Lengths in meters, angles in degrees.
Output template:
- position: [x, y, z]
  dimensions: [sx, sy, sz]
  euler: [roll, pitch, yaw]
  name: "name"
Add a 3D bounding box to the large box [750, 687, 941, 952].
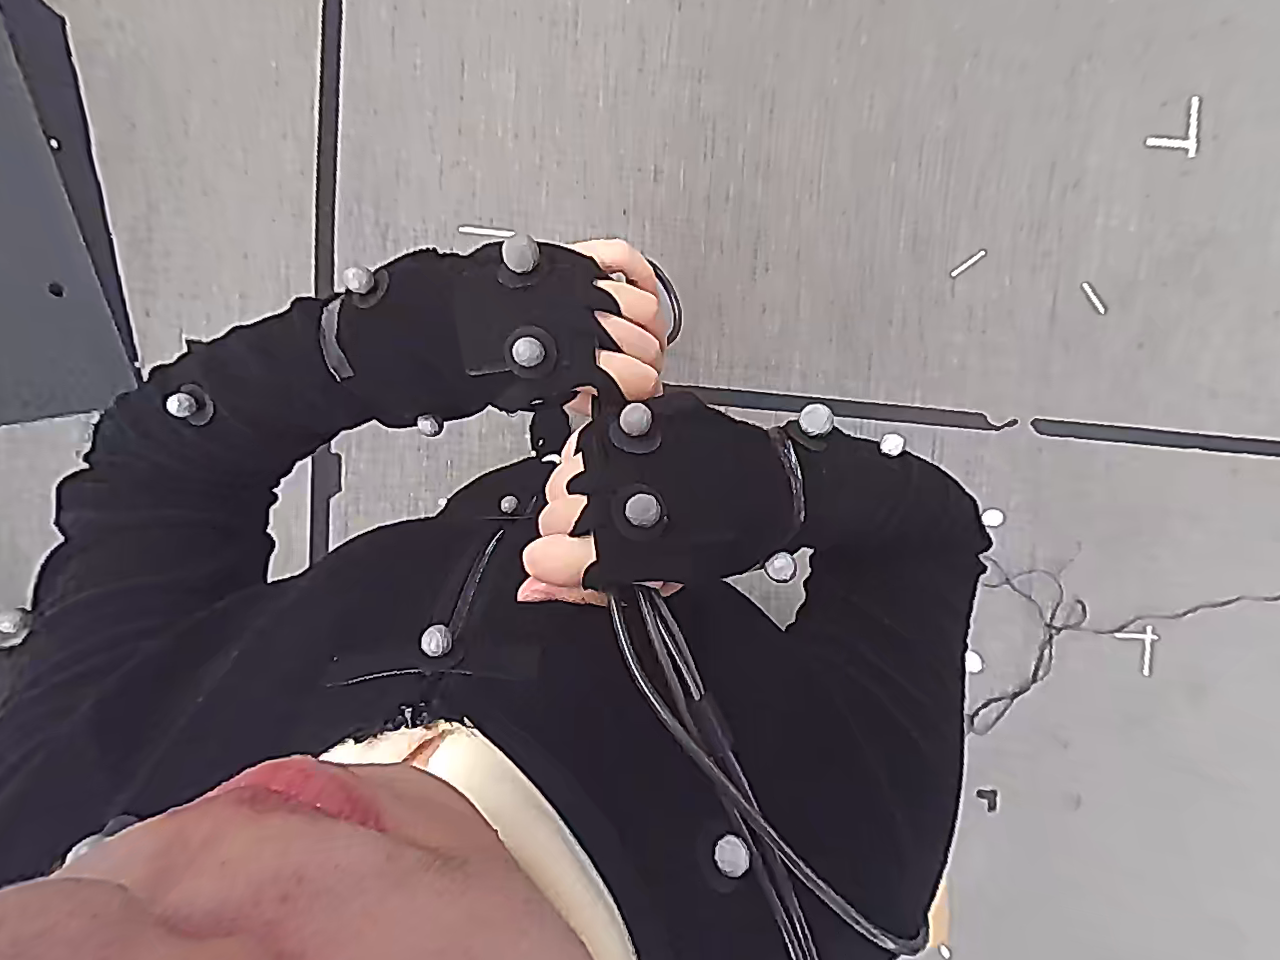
- position: [0.450, 0.743, 1.241]
  dimensions: [0.320, 0.320, 0.408]
  euler: [-2, 94, -4]
  name: "large box"
